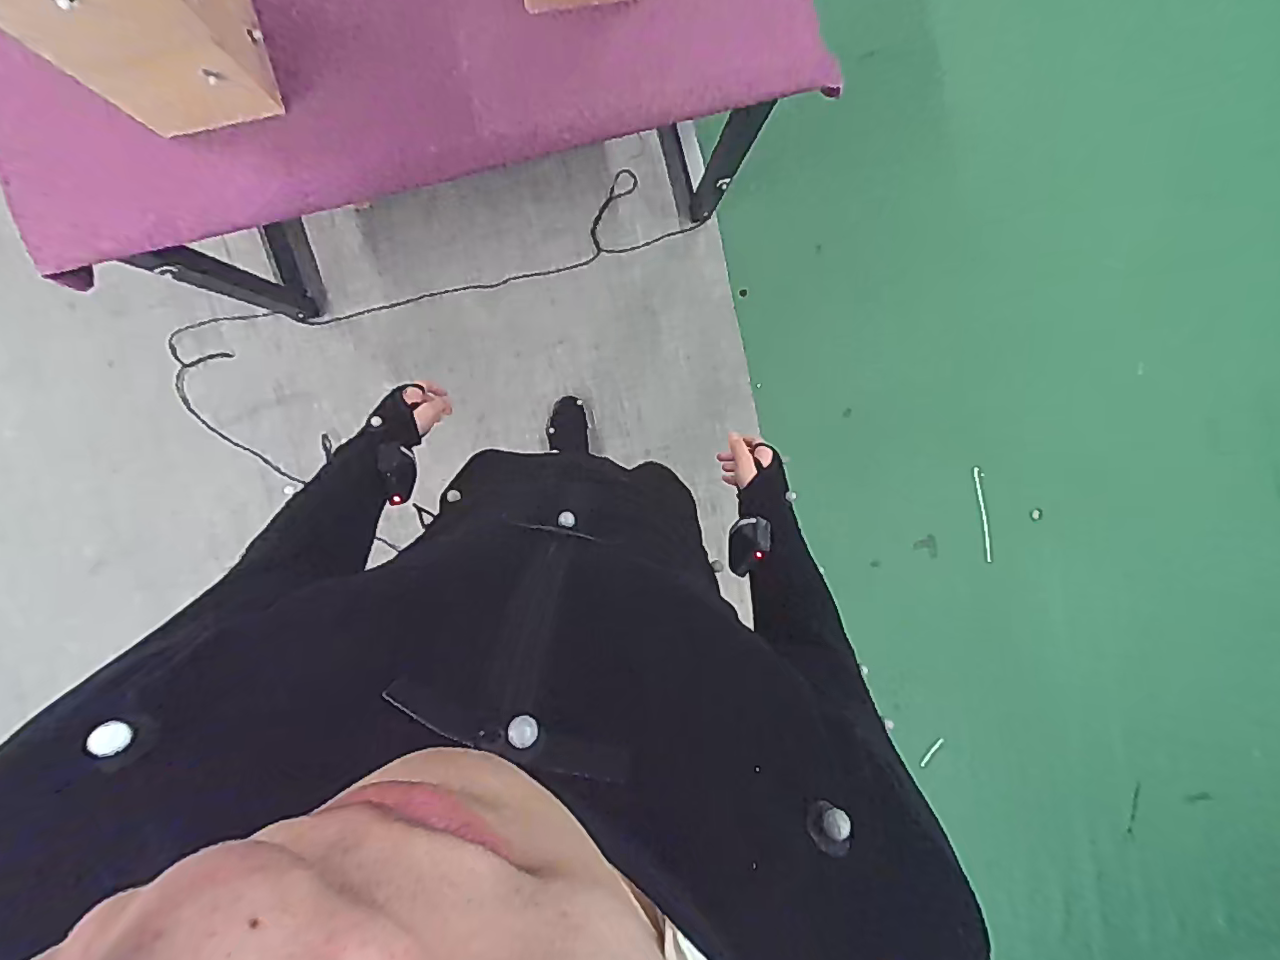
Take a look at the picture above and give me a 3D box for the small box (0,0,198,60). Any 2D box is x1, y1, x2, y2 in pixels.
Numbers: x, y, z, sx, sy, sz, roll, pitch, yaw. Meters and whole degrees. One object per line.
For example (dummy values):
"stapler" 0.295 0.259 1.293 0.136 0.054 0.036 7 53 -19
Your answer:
"small box" -0.579 -0.556 0.518 0.179 0.176 0.168 -18 98 -3

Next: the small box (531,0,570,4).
"small box" -0.084 -0.781 0.711 0.179 0.176 0.168 -11 98 -3
